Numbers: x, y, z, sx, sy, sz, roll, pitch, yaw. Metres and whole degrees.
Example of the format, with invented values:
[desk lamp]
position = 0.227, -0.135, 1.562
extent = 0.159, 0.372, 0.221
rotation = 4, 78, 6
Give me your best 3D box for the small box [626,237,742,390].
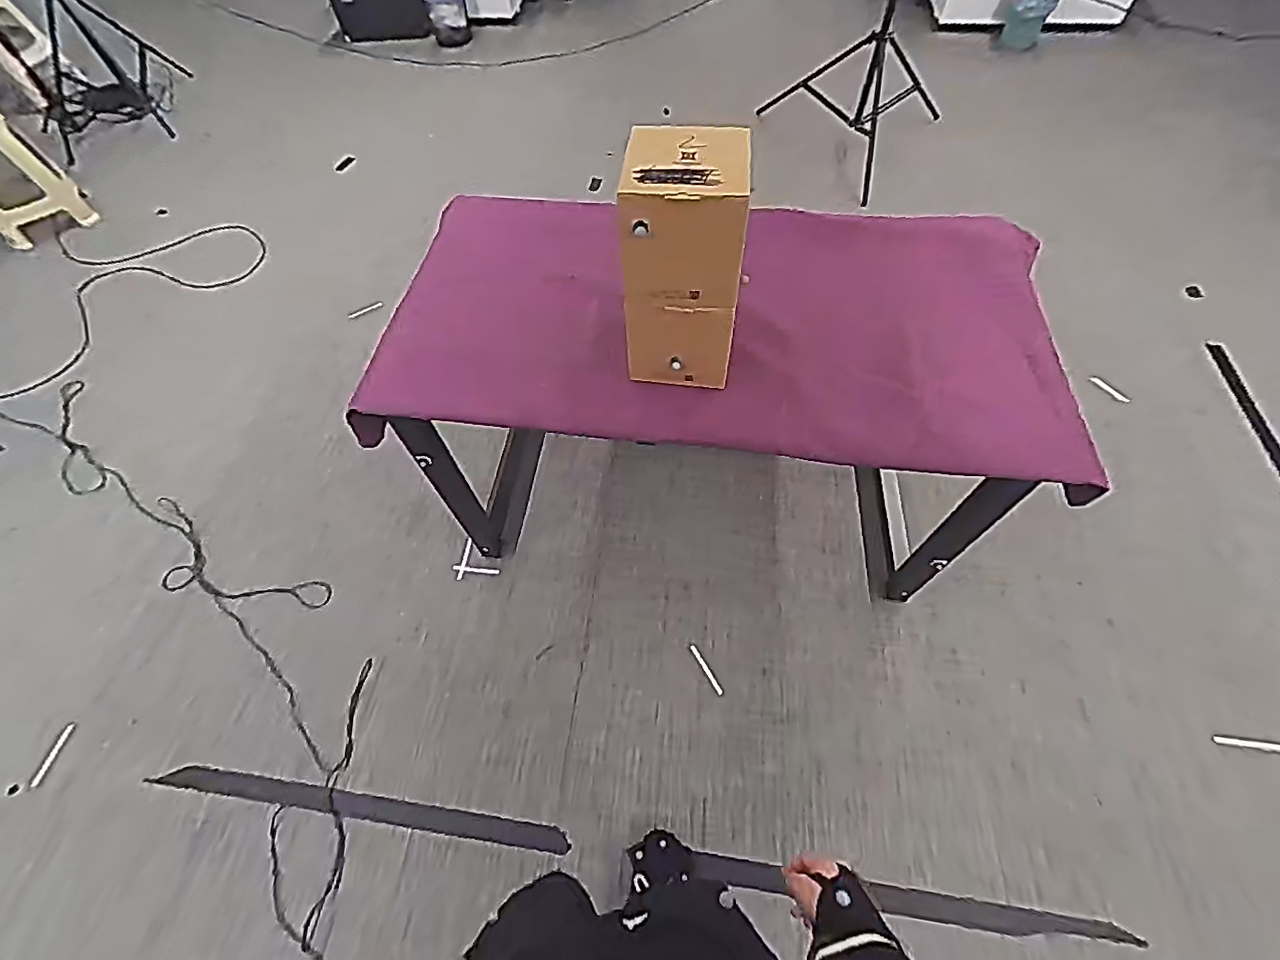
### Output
[small box]
position = 0.074, -0.279, 0.913
extent = 0.168, 0.176, 0.179
rotation = 7, 58, 7
